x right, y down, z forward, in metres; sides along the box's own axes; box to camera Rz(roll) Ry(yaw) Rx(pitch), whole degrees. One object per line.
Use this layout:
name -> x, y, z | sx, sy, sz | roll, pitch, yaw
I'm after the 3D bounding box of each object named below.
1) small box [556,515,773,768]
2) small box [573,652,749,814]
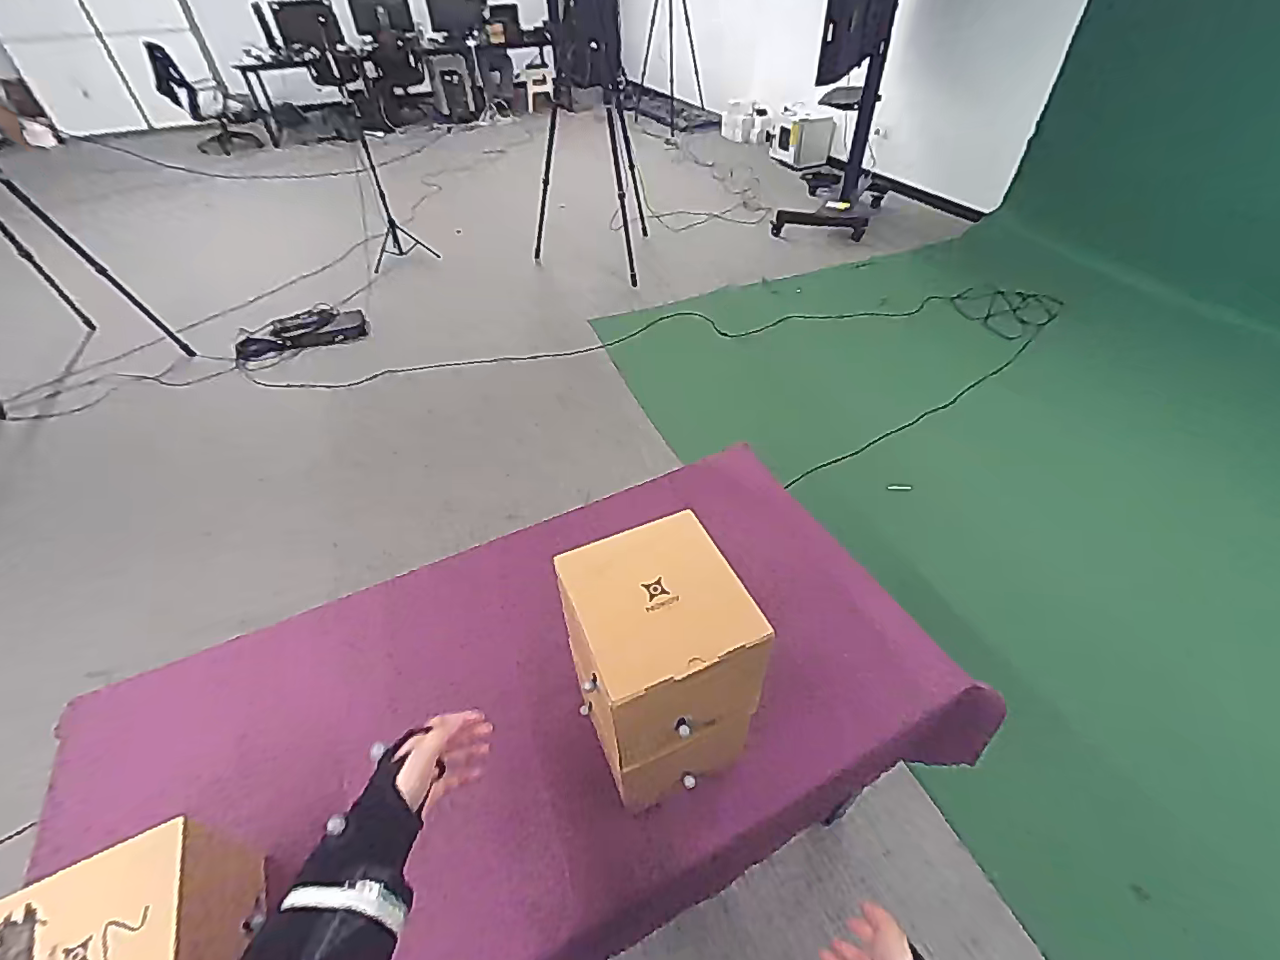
small box -> 0.017, 0.174, 0.590 | 0.168, 0.176, 0.179 | -18, 48, -16
small box -> 0.019, 0.292, 0.703 | 0.168, 0.176, 0.179 | -18, 47, -15
